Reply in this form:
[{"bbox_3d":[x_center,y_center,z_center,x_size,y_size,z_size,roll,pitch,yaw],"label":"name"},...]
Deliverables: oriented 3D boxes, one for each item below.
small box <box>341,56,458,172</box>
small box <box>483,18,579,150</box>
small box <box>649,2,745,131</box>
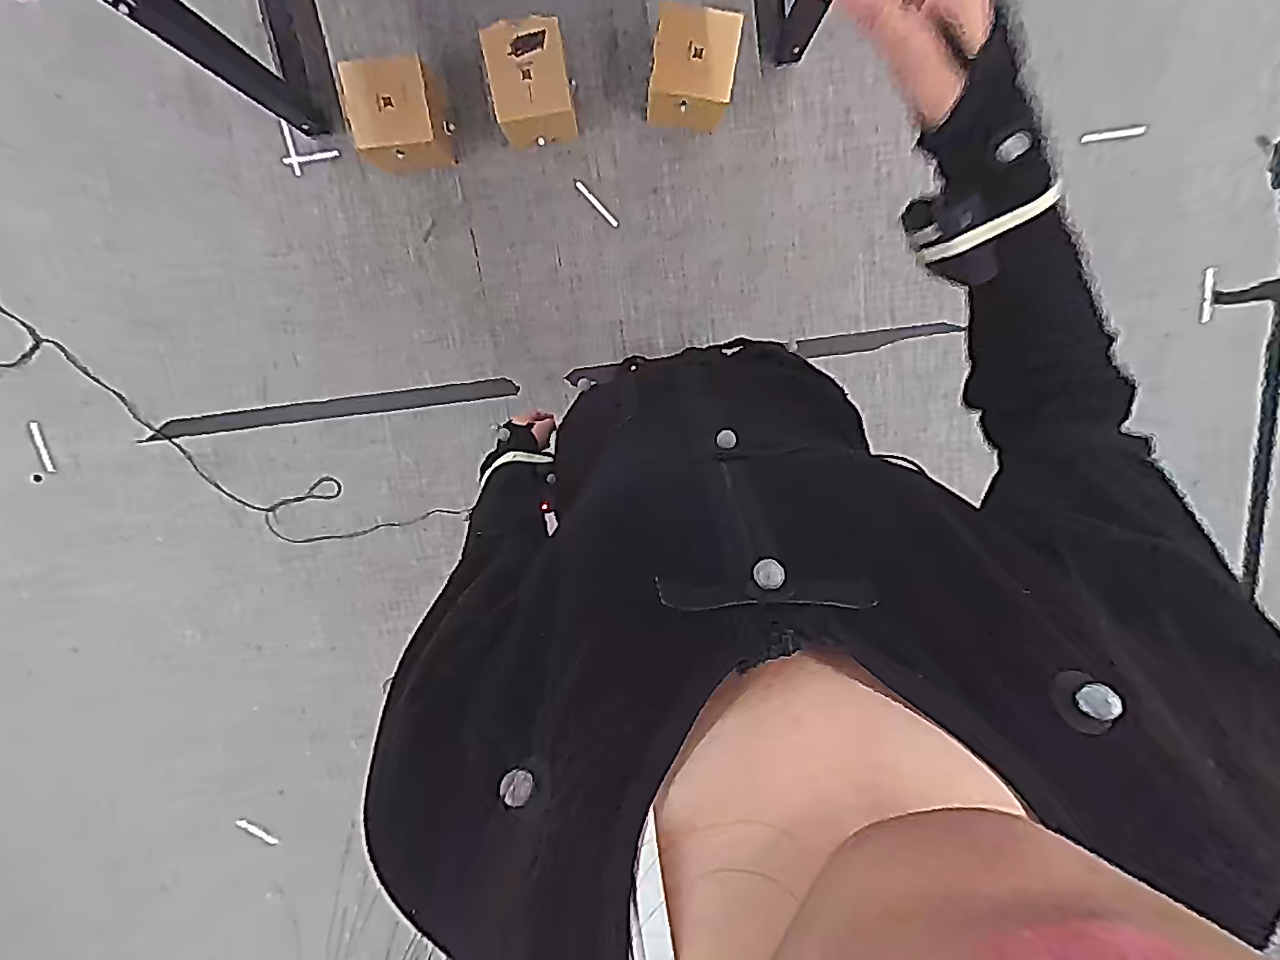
[{"bbox_3d":[-0.536,-0.817,1.225,0.179,0.176,0.168,-6,104,0],"label":"small box"},{"bbox_3d":[-0.236,-0.876,1.211,0.168,0.176,0.179,-9,104,2],"label":"small box"},{"bbox_3d":[0.119,-0.910,1.208,0.179,0.176,0.168,9,104,-1],"label":"small box"}]
